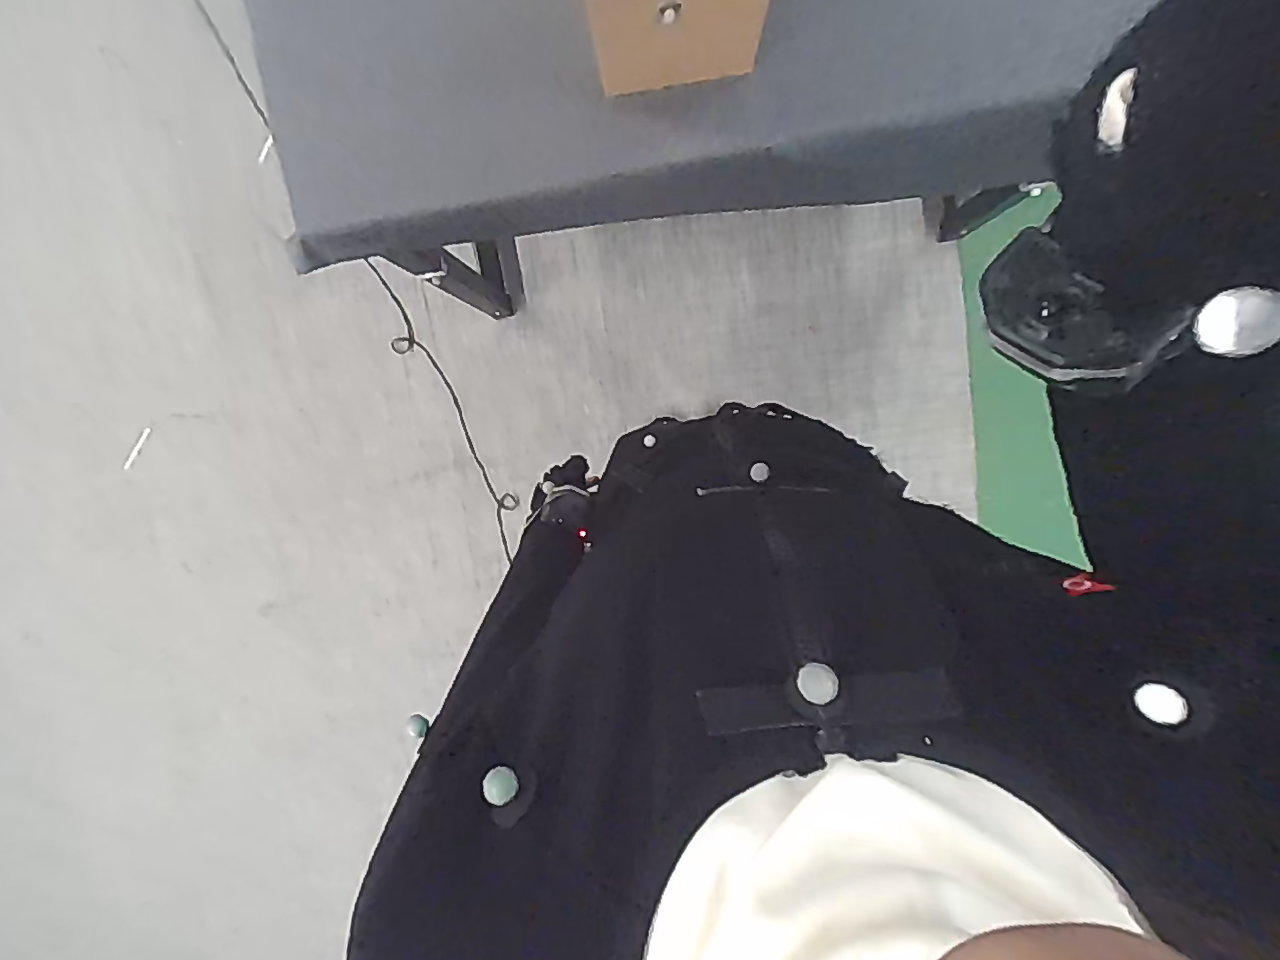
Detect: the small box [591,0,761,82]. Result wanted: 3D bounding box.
[{"bbox_3d":[0.032,-0.545,0.548,0.179,0.176,0.168,-6,97,4],"label":"small box"}]
